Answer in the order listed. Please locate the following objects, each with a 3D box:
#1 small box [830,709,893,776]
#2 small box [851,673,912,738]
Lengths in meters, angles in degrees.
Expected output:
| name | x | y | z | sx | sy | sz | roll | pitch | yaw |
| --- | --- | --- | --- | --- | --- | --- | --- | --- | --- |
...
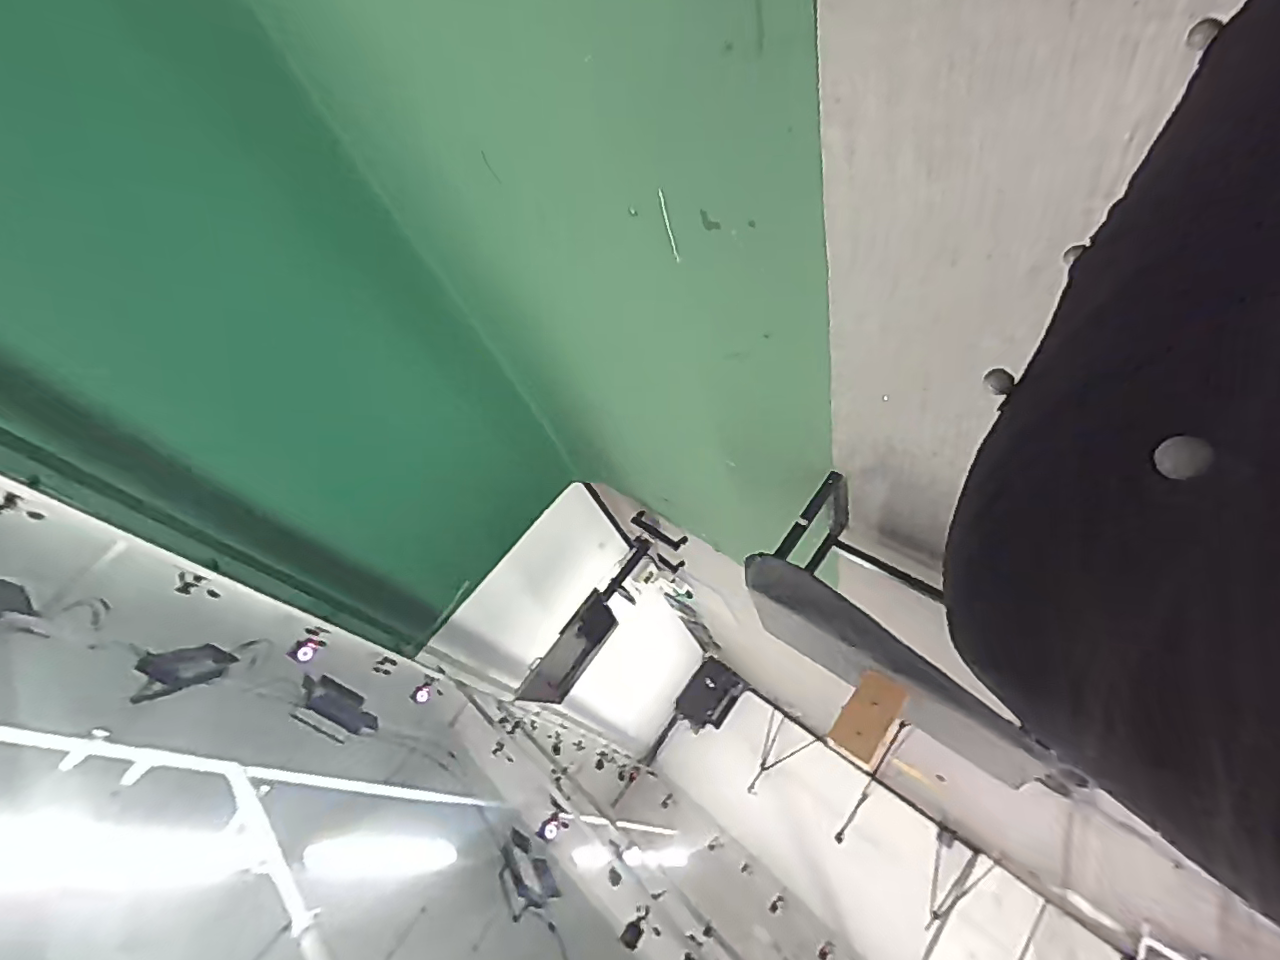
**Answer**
| name | x | y | z | sx | sy | sz | roll | pitch | yaw |
| --- | --- | --- | --- | --- | --- | --- | --- | --- | --- |
| small box | 0.887 | 1.045 | 2.166 | 0.179 | 0.176 | 0.168 | 26 | 159 | 35 |
| small box | 0.987 | 0.922 | 2.210 | 0.179 | 0.176 | 0.168 | 30 | 160 | 35 |
